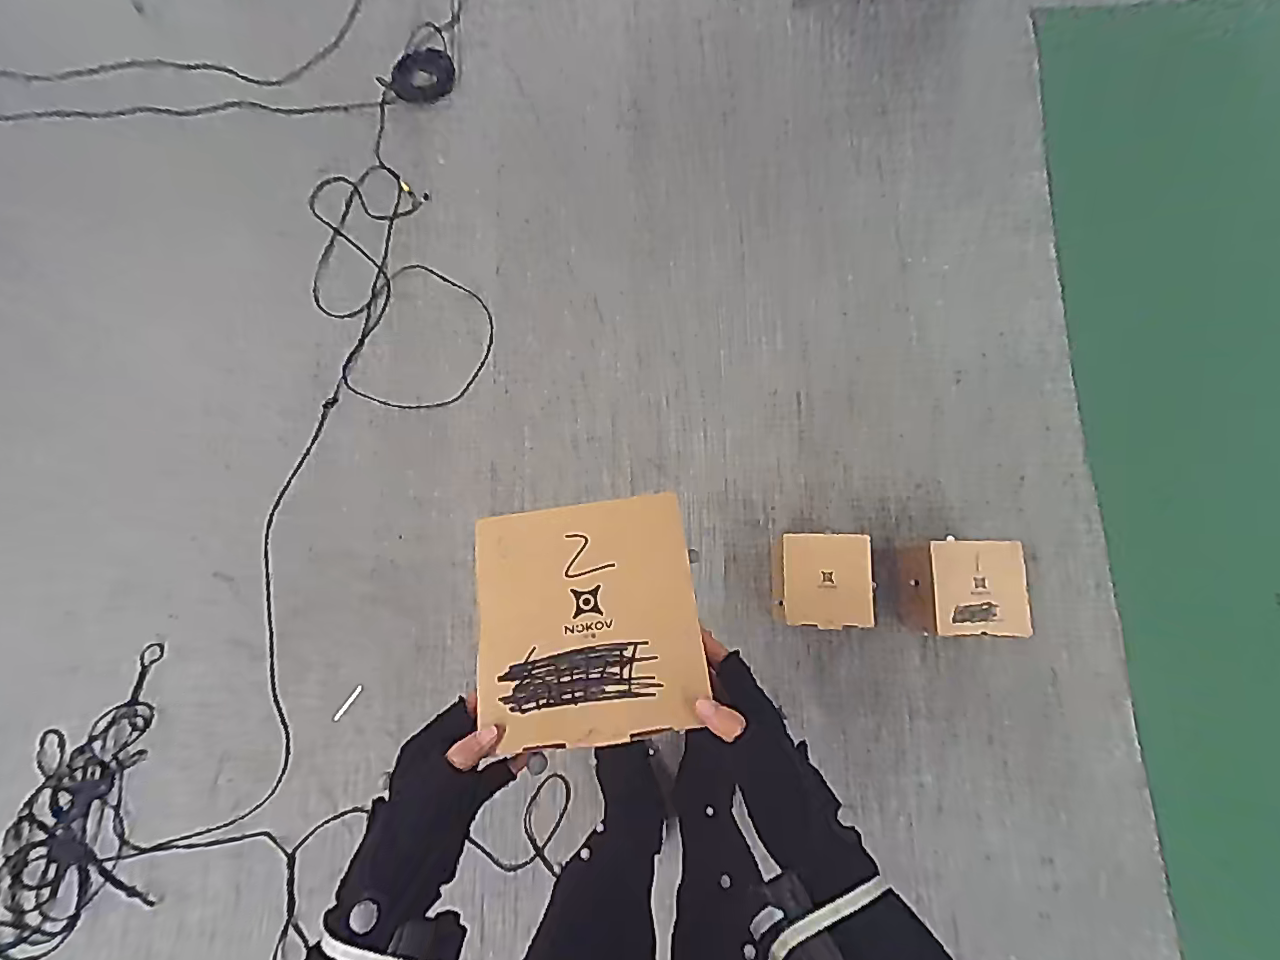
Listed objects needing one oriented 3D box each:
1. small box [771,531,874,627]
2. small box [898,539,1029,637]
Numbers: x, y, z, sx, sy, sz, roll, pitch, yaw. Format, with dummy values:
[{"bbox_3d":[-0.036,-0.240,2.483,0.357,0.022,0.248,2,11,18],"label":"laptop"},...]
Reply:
[{"bbox_3d":[0.363,0.200,1.103,0.168,0.176,0.179,0,80,6],"label":"small box"},{"bbox_3d":[0.630,0.211,1.073,0.168,0.176,0.179,0,79,6],"label":"small box"}]
